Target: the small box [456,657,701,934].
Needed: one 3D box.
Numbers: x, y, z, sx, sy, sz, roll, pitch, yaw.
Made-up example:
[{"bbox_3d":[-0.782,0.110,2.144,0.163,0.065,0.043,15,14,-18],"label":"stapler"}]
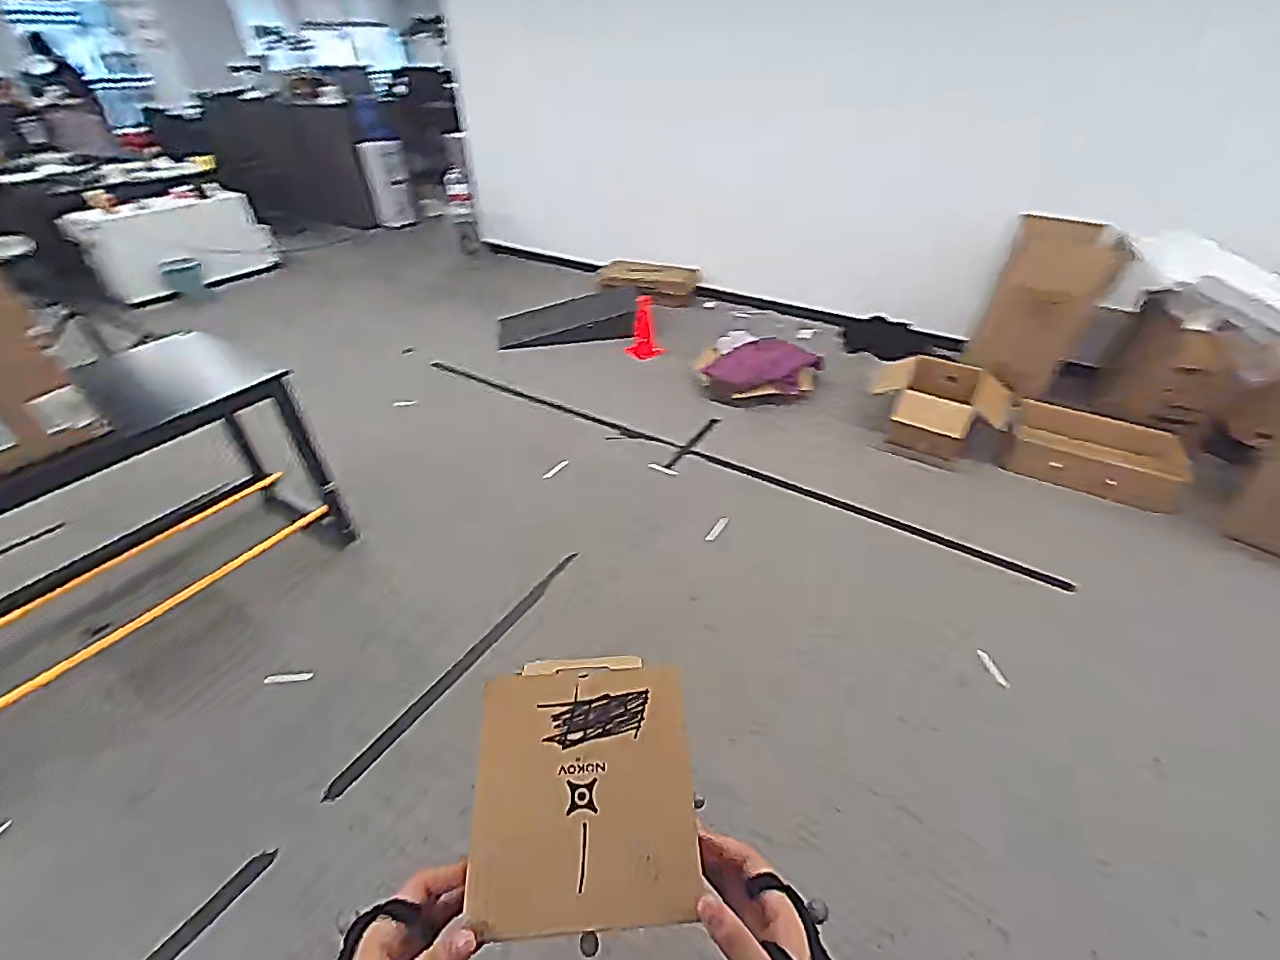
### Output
[{"bbox_3d":[-0.047,0.275,0.472,0.168,0.176,0.179,-5,52,-3],"label":"small box"}]
